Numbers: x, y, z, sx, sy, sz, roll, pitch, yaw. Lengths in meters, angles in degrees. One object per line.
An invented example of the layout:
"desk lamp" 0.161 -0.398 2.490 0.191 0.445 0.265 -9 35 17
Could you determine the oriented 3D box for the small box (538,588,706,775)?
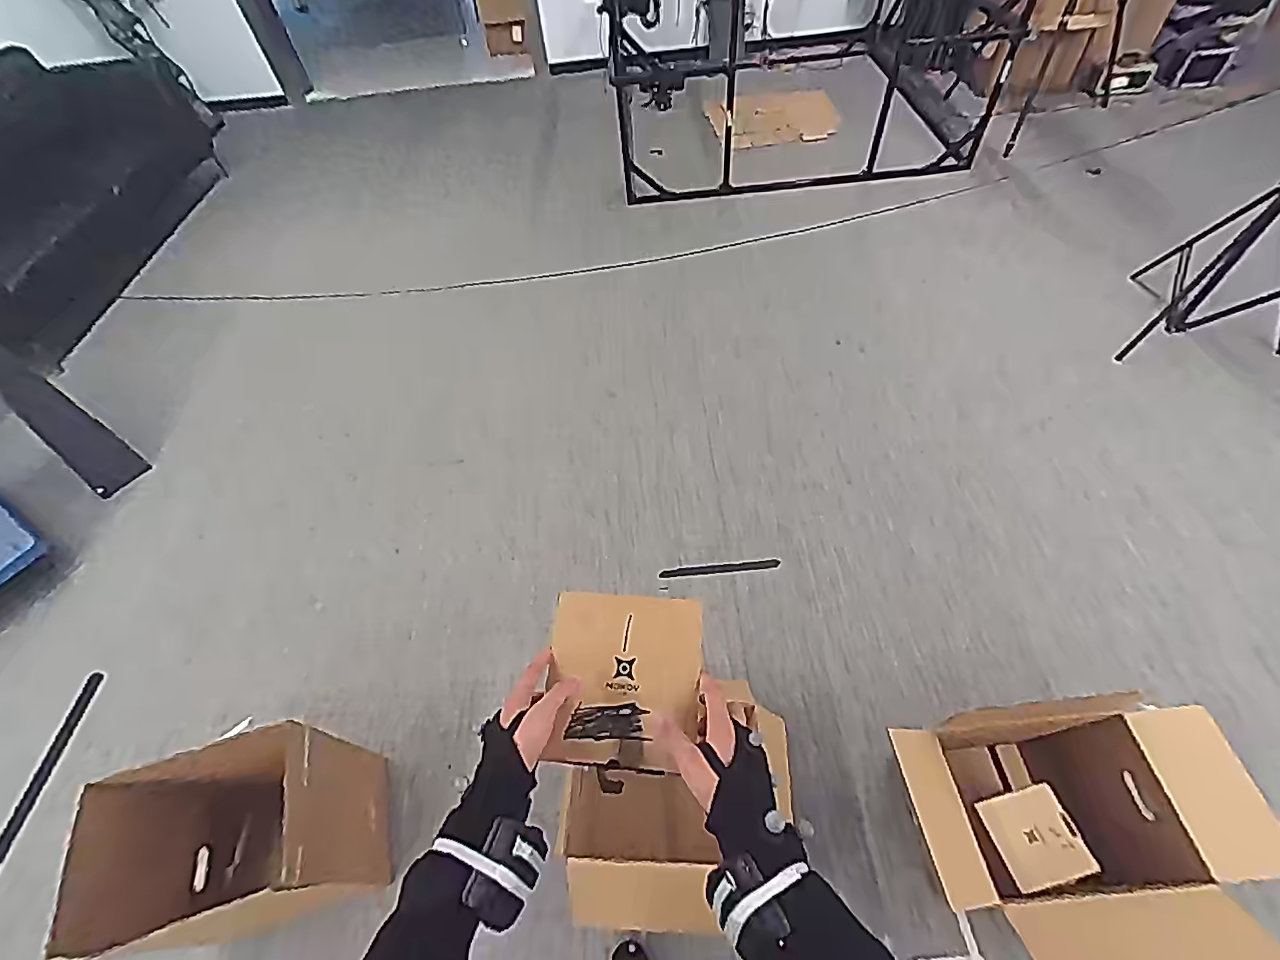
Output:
"small box" -0.008 0.241 0.645 0.168 0.176 0.179 3 64 7
